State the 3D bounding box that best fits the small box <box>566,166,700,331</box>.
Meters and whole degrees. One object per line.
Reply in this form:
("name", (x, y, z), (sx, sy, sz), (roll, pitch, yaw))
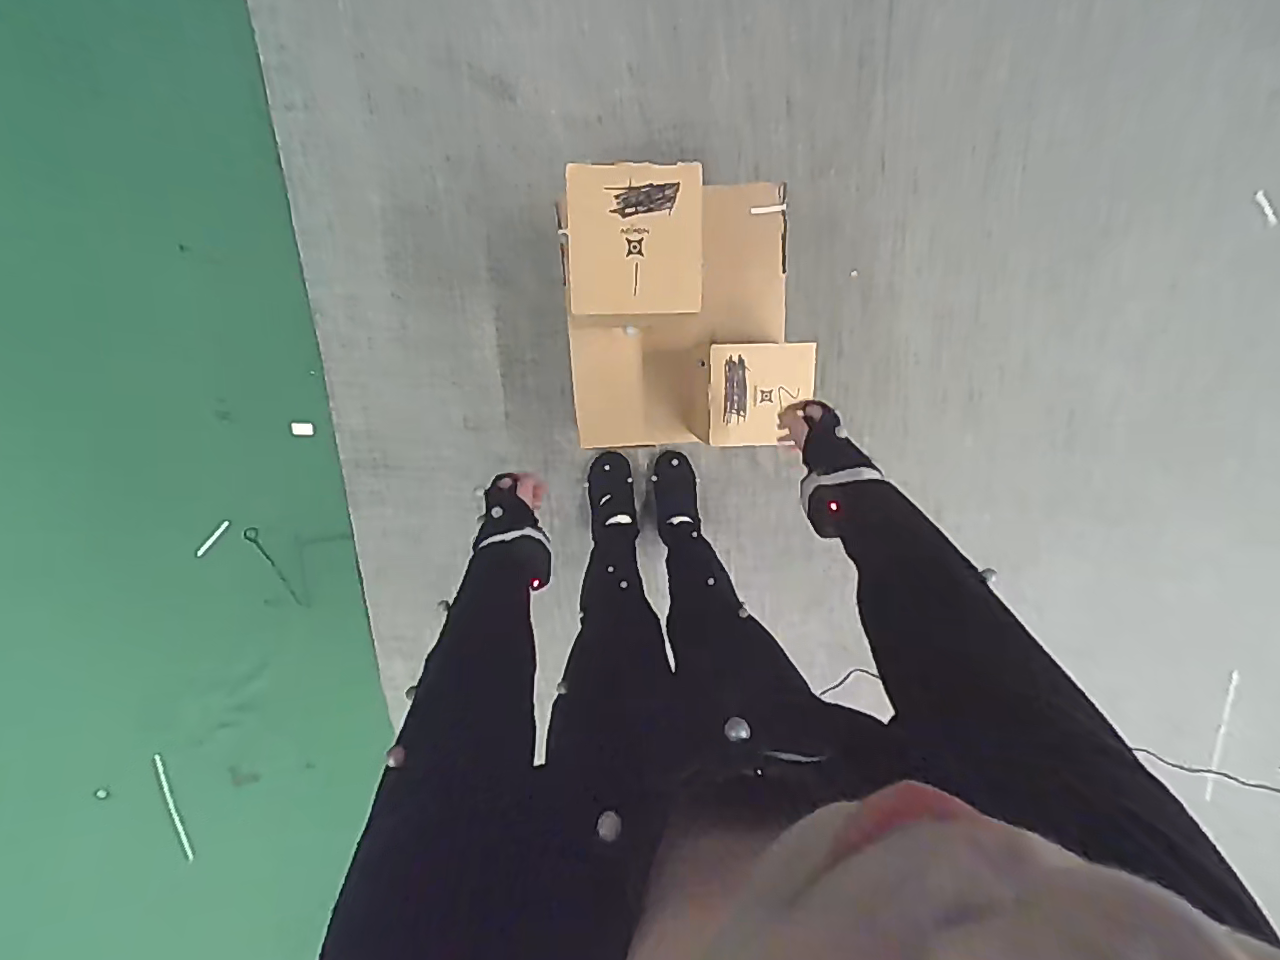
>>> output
("small box", (-0.013, -0.303, 0.740), (0.168, 0.176, 0.179), (-1, 101, -3))
